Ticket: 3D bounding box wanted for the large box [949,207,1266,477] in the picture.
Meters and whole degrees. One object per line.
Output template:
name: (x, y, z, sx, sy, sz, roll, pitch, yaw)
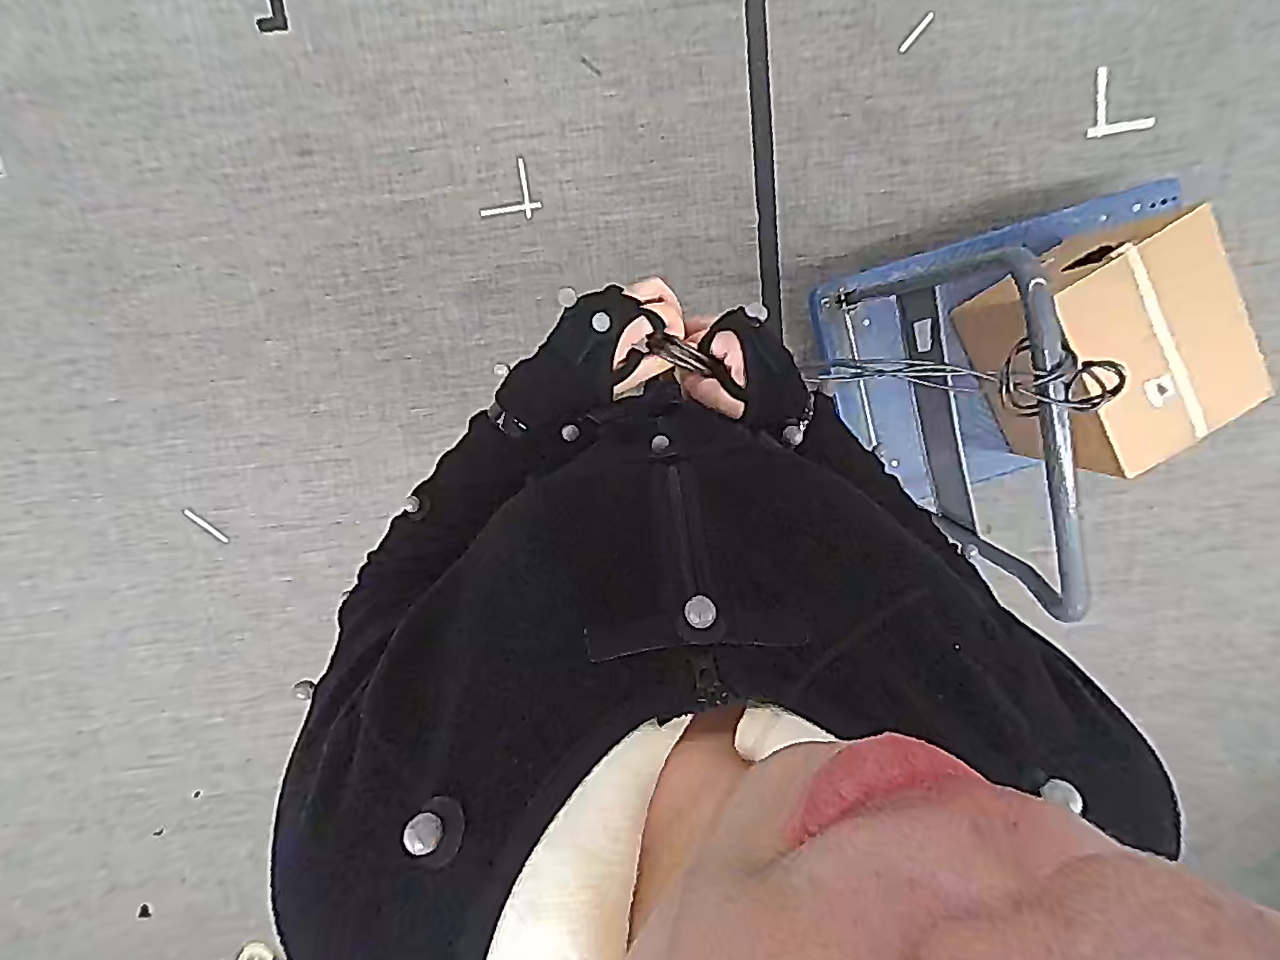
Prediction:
large box: (0.958, -0.277, 1.150, 0.320, 0.320, 0.408, -32, 102, 5)
